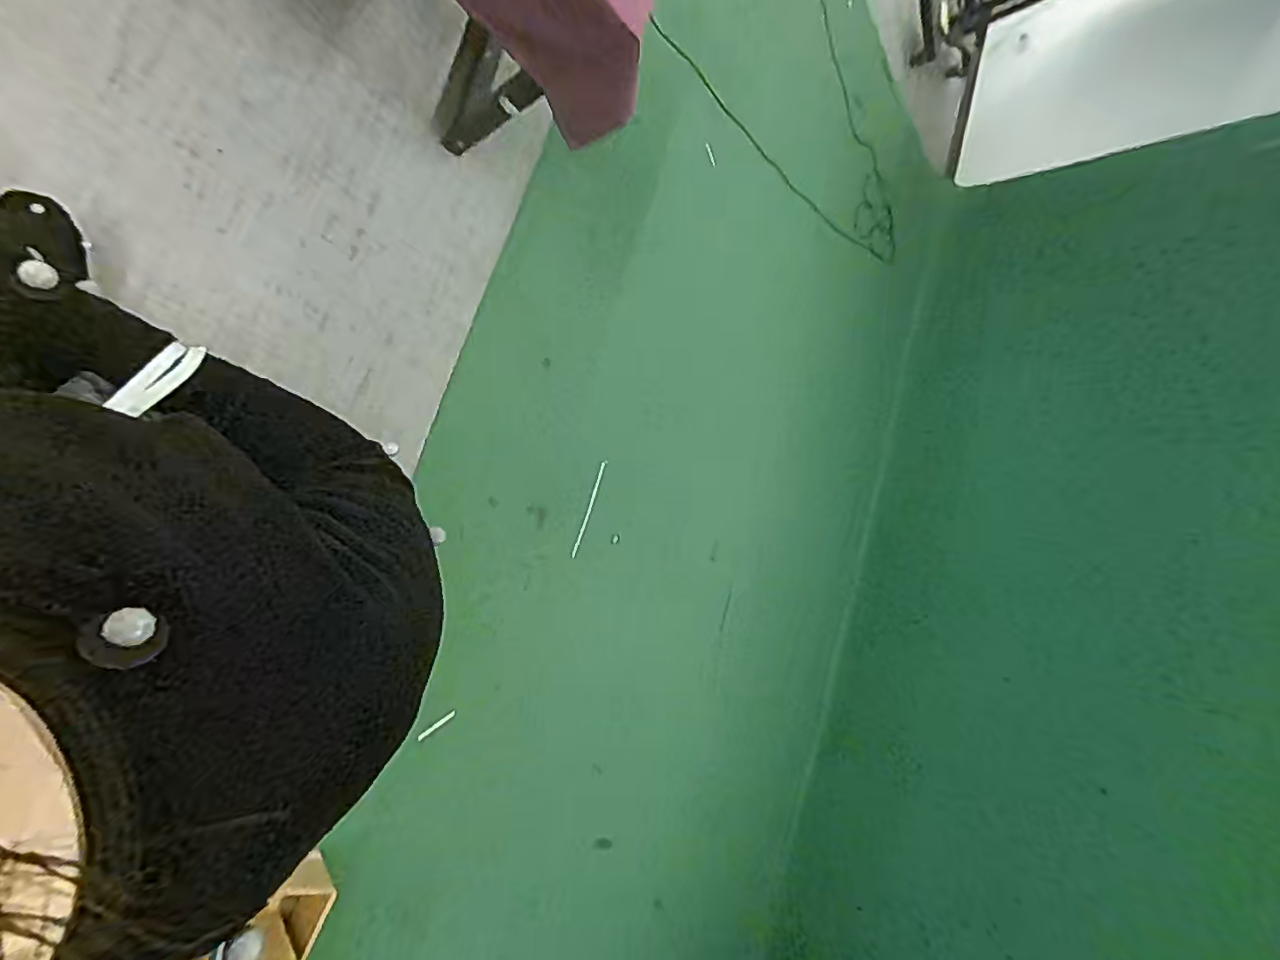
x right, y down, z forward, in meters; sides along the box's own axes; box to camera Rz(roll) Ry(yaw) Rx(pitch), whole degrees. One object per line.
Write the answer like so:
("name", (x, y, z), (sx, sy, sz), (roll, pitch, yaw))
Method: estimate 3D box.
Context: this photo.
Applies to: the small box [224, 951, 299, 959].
("small box", (-0.800, 1.113, 1.099), (0.168, 0.176, 0.179), (41, 66, -39))
